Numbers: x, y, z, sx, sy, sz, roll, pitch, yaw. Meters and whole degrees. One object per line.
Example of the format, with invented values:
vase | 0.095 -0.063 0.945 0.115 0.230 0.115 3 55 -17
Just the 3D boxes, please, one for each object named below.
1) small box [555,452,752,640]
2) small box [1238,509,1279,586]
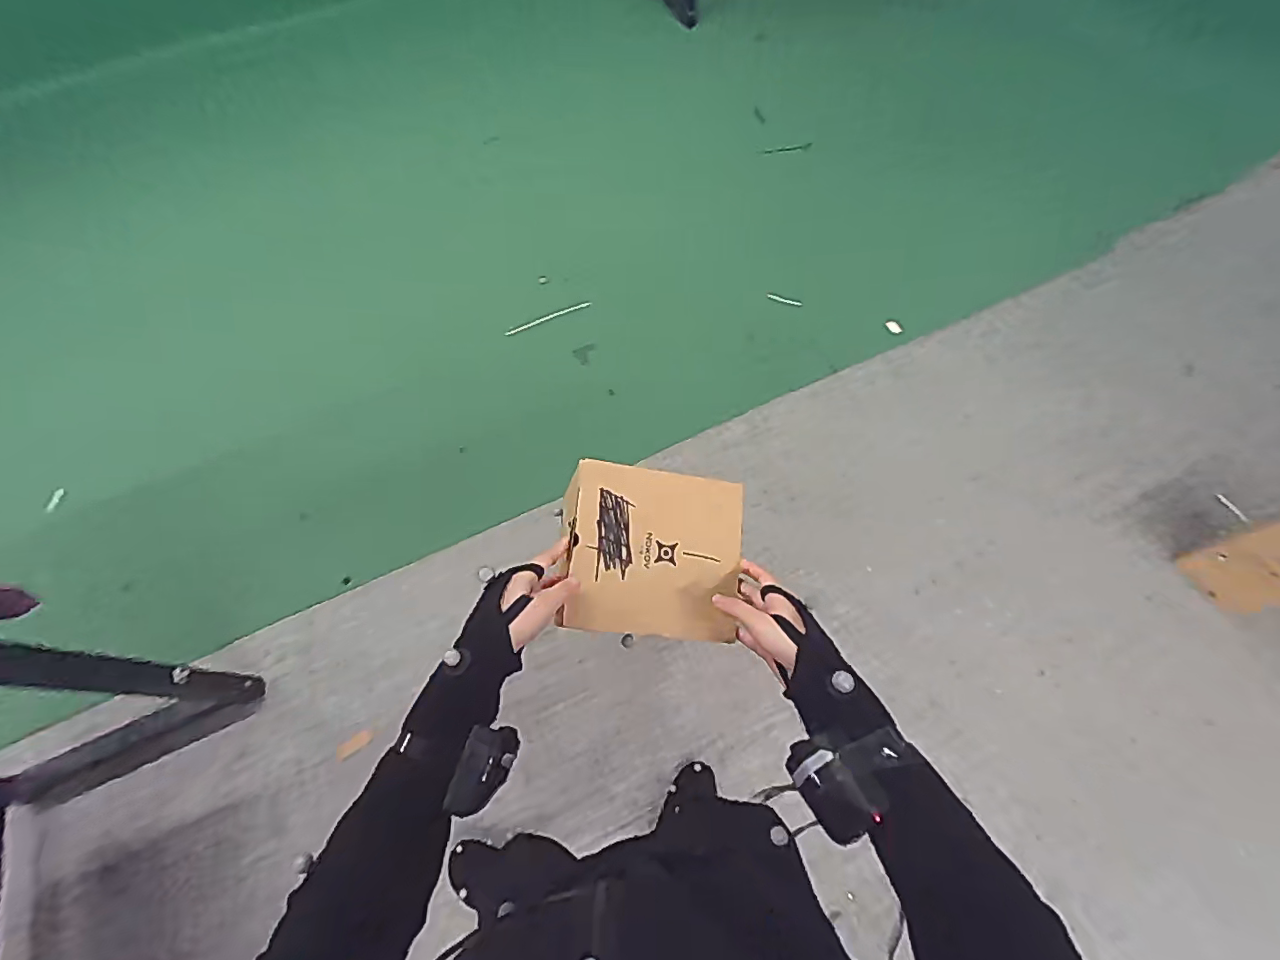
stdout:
small box | 0.006 0.082 0.606 0.179 0.176 0.168 11 75 -12
small box | 1.506 0.136 1.192 0.179 0.176 0.168 -27 66 -10
